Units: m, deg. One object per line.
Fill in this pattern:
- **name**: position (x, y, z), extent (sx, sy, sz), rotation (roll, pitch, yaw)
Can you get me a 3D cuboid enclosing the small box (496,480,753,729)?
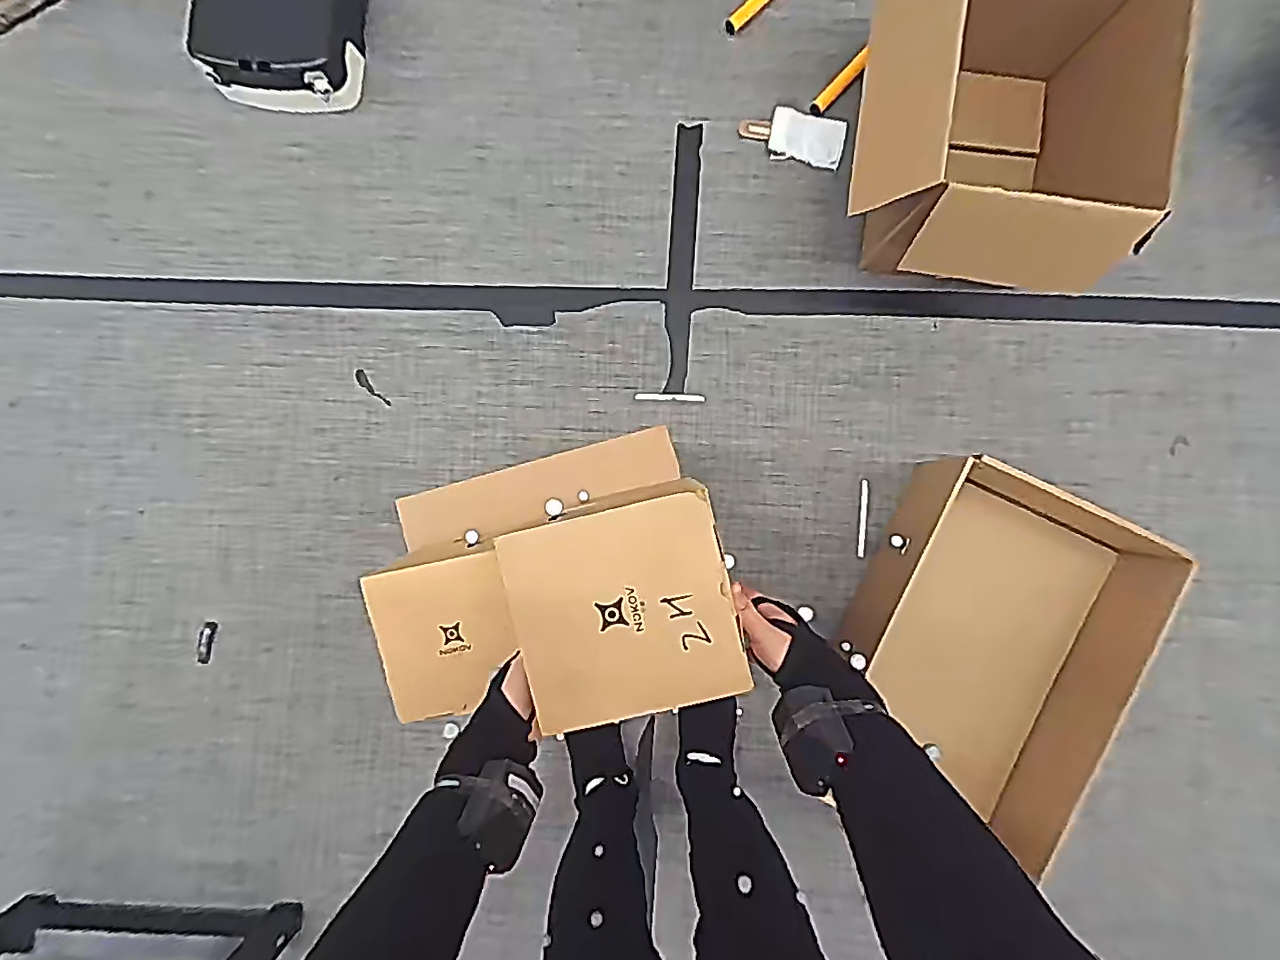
- **small box**: position (-0.009, 0.098, 0.501), extent (0.179, 0.176, 0.168), rotation (-13, 91, 2)
